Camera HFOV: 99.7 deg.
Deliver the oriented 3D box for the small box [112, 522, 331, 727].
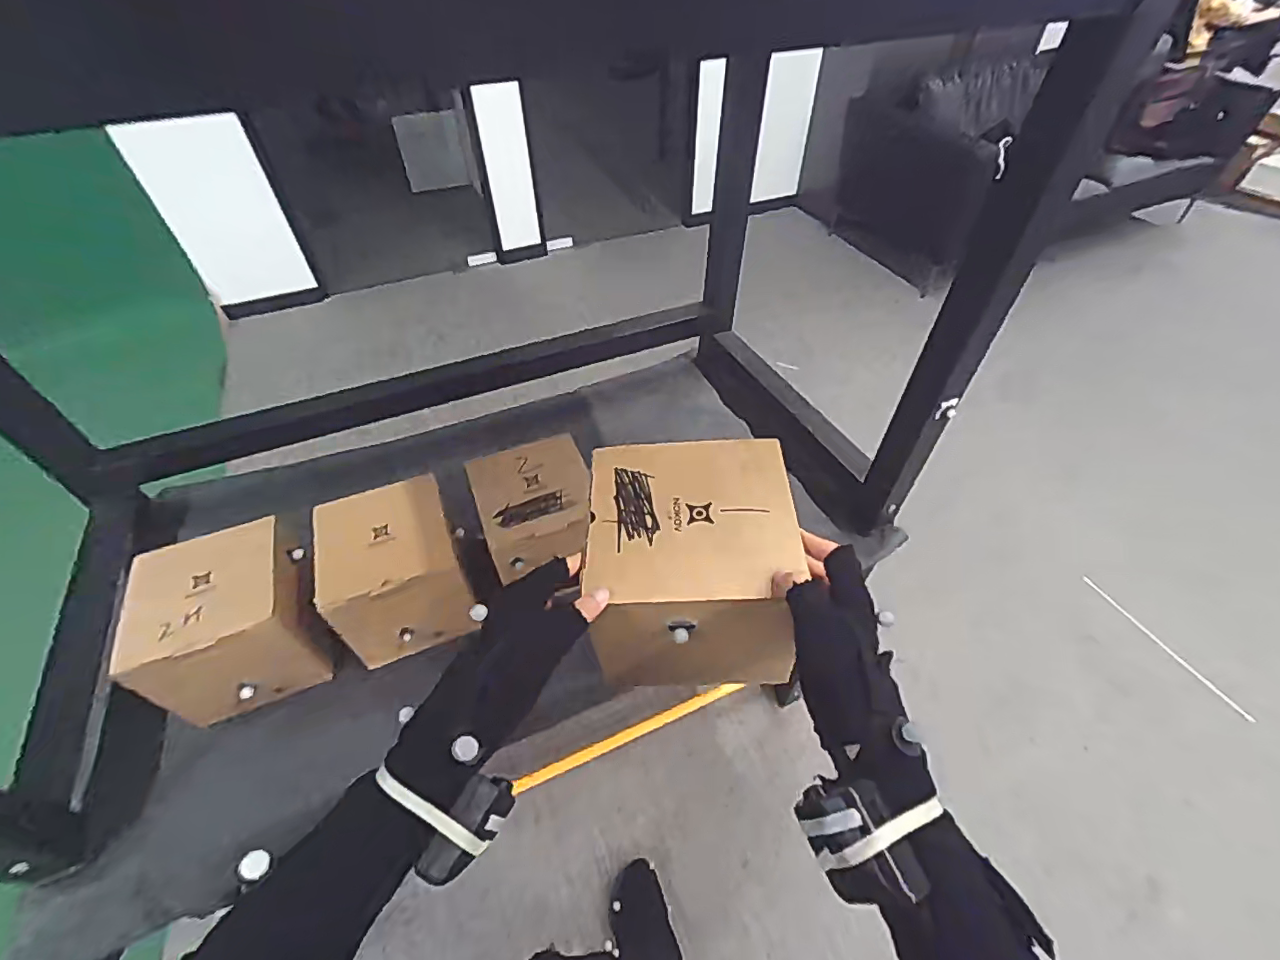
[{"bbox_3d":[-0.532,0.191,0.719,0.168,0.176,0.179,-18,49,-16],"label":"small box"}]
